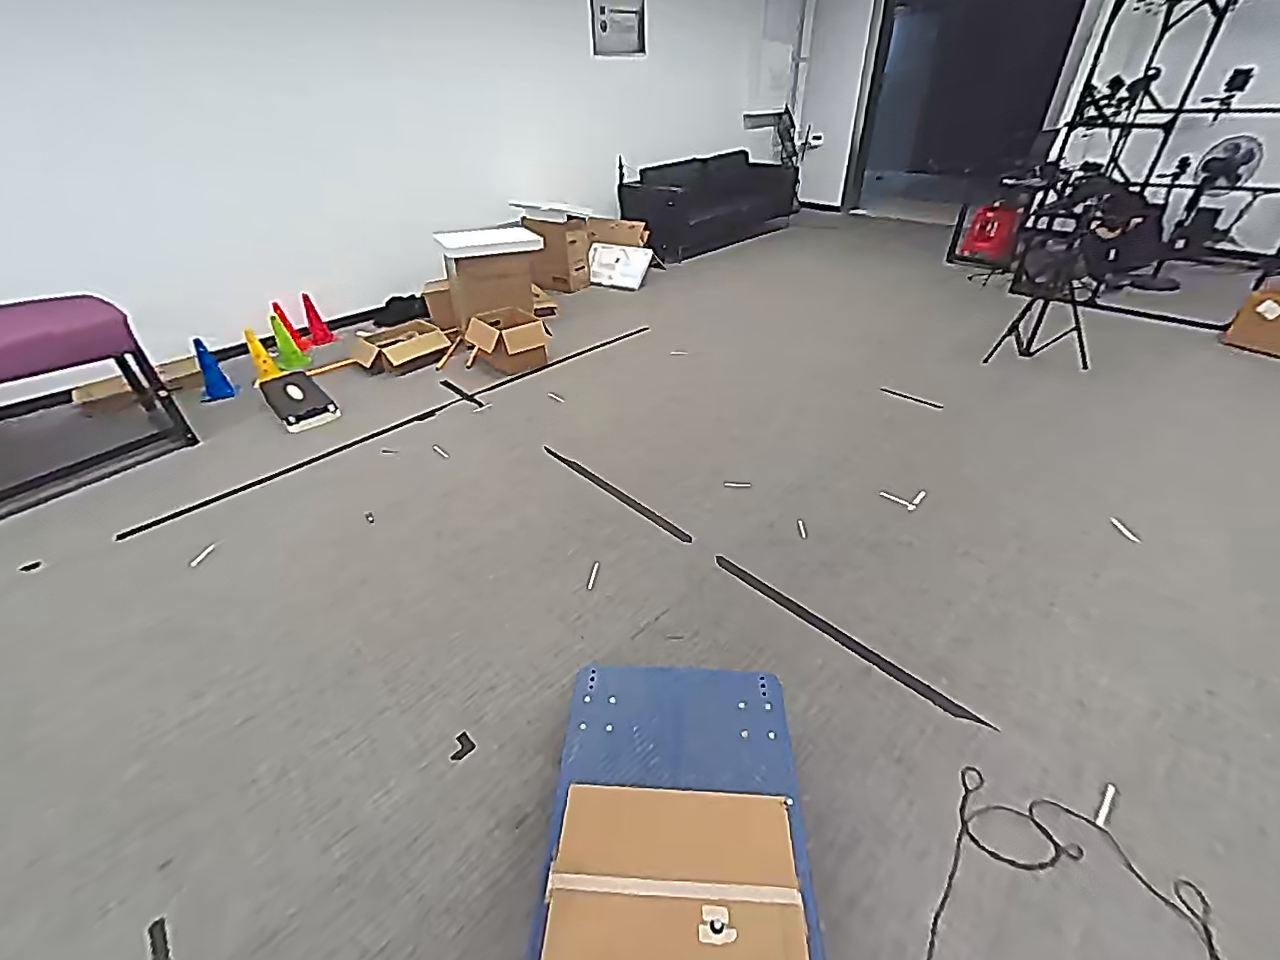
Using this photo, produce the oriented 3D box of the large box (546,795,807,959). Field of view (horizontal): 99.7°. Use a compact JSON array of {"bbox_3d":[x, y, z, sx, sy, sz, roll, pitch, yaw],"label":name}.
[{"bbox_3d":[0.058,0.803,0.966,0.408,0.320,0.320,2,37,3],"label":"large box"}]
